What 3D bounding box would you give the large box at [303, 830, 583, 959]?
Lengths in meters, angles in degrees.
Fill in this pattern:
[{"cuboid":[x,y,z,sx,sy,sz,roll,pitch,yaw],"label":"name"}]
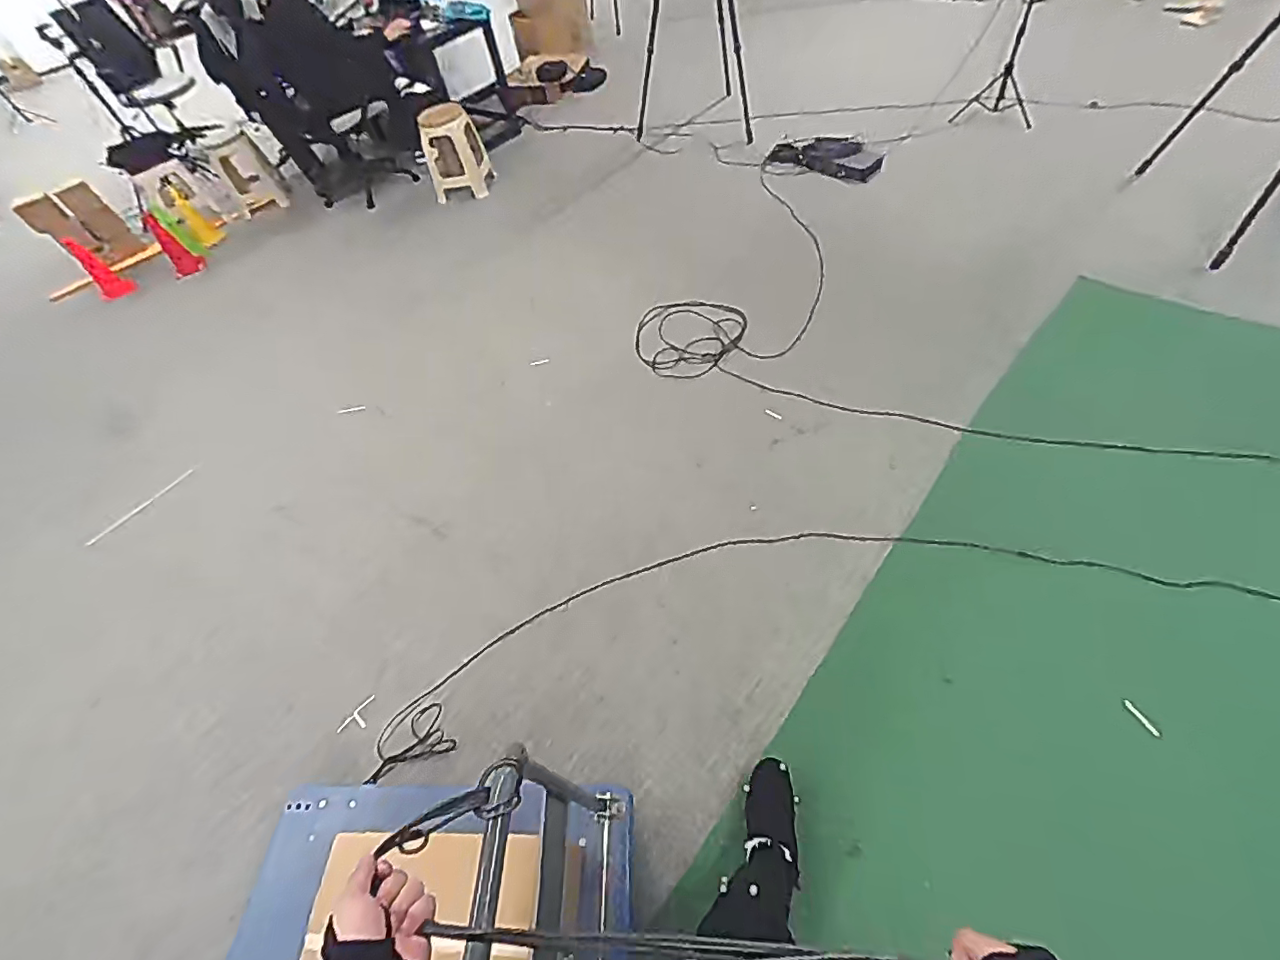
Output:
[{"cuboid":[-0.339,0.851,1.006,0.408,0.320,0.320,-5,52,8],"label":"large box"}]
